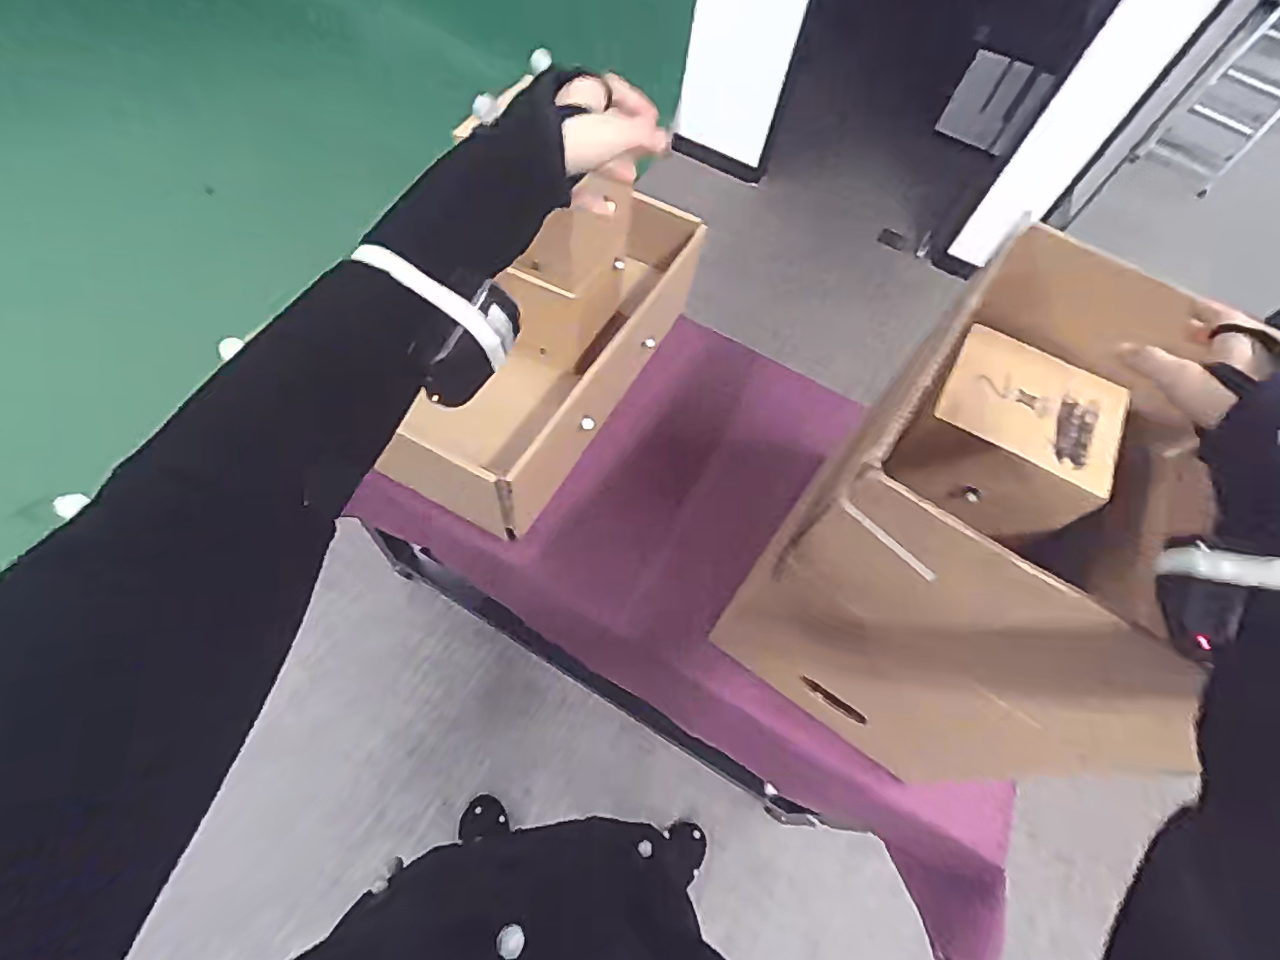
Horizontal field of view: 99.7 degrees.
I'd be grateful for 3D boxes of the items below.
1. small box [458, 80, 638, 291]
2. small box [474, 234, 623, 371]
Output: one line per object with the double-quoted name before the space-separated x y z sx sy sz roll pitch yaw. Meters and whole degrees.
"small box" -0.119 -0.398 0.742 0.168 0.176 0.179 25 61 9
"small box" -0.139 -0.309 0.879 0.168 0.176 0.179 24 60 8
